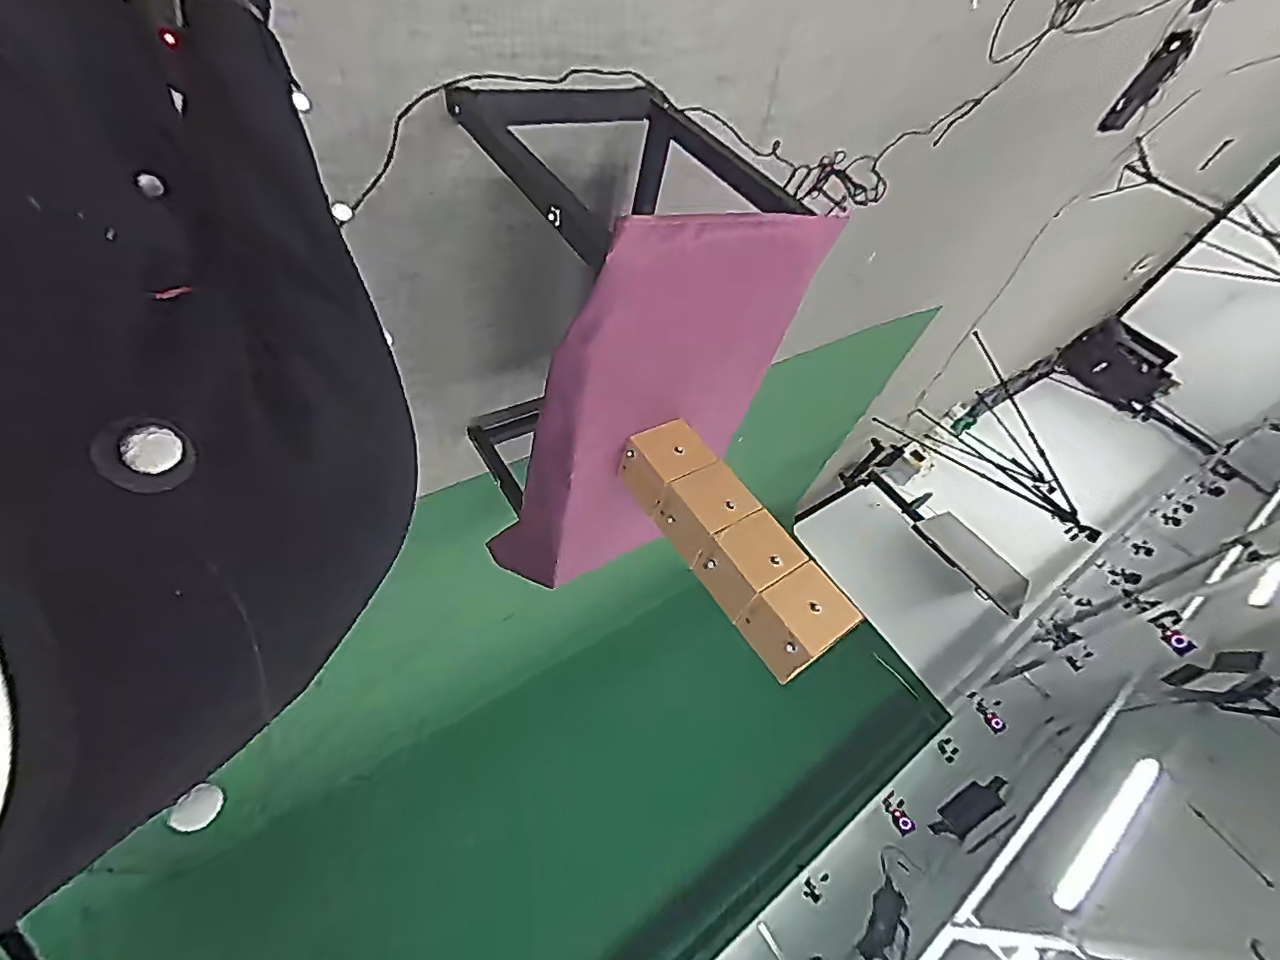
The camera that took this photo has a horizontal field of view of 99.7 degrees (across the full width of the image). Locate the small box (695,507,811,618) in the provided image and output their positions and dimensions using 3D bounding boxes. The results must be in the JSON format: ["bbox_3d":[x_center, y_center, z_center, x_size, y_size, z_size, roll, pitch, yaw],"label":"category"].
[{"bbox_3d":[0.263,0.191,1.287,0.179,0.176,0.168,-23,151,-29],"label":"small box"}]

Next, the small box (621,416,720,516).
[{"bbox_3d":[0.072,-0.040,1.420,0.179,0.176,0.168,-23,152,-29],"label":"small box"}]

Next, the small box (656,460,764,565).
[{"bbox_3d":[0.170,0.075,1.353,0.179,0.176,0.168,-22,151,-29],"label":"small box"}]
